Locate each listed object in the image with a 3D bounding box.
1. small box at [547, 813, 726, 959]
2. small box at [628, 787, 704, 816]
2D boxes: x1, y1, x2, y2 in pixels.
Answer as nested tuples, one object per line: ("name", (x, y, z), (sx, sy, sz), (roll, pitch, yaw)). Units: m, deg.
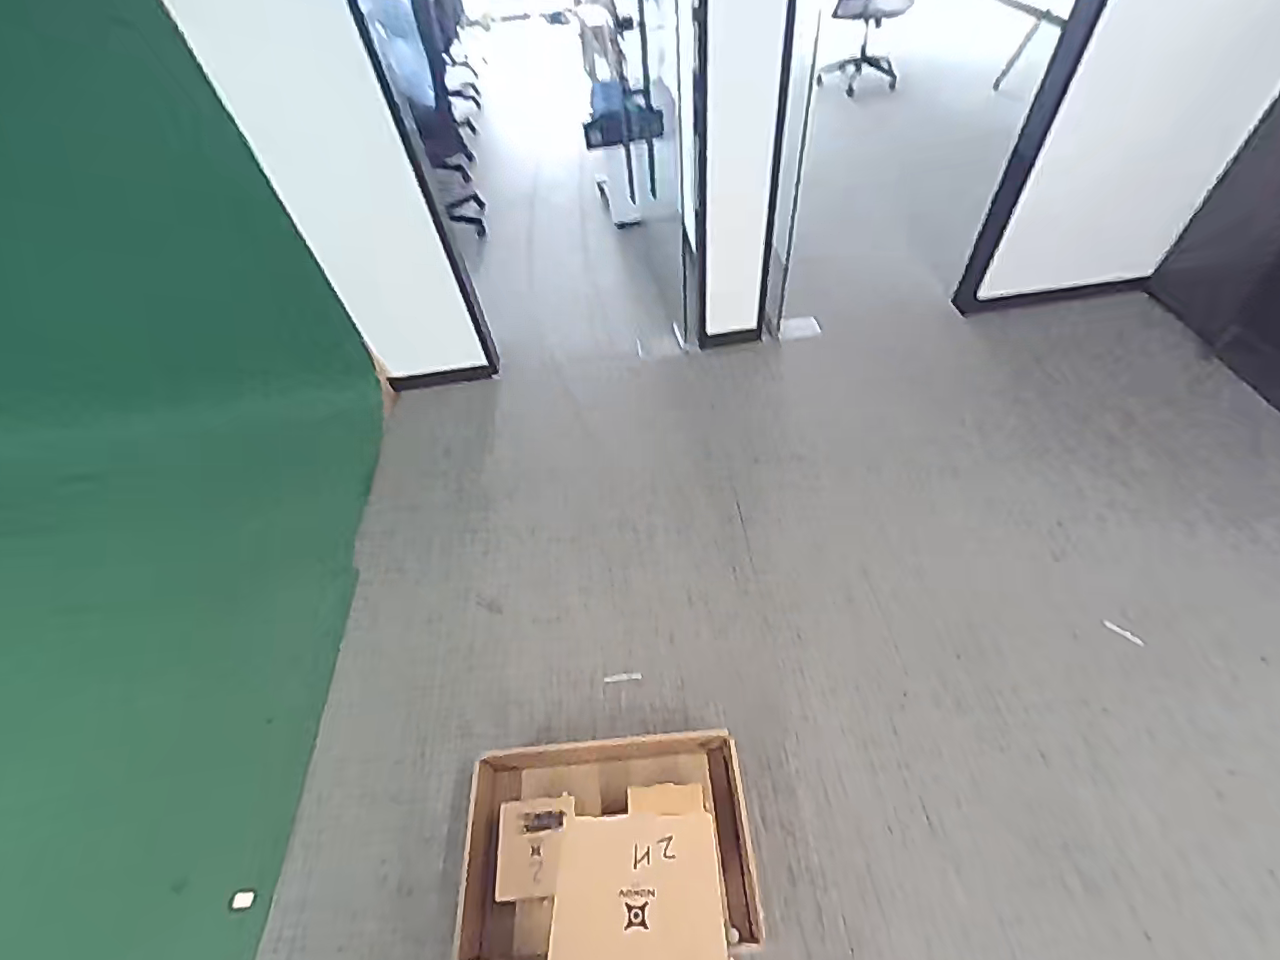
("small box", (0.002, 0.481, 0.559), (0.168, 0.176, 0.179), (-2, 29, 1))
("small box", (0.065, 0.798, 1.200), (0.168, 0.176, 0.179), (-5, 51, 3))
